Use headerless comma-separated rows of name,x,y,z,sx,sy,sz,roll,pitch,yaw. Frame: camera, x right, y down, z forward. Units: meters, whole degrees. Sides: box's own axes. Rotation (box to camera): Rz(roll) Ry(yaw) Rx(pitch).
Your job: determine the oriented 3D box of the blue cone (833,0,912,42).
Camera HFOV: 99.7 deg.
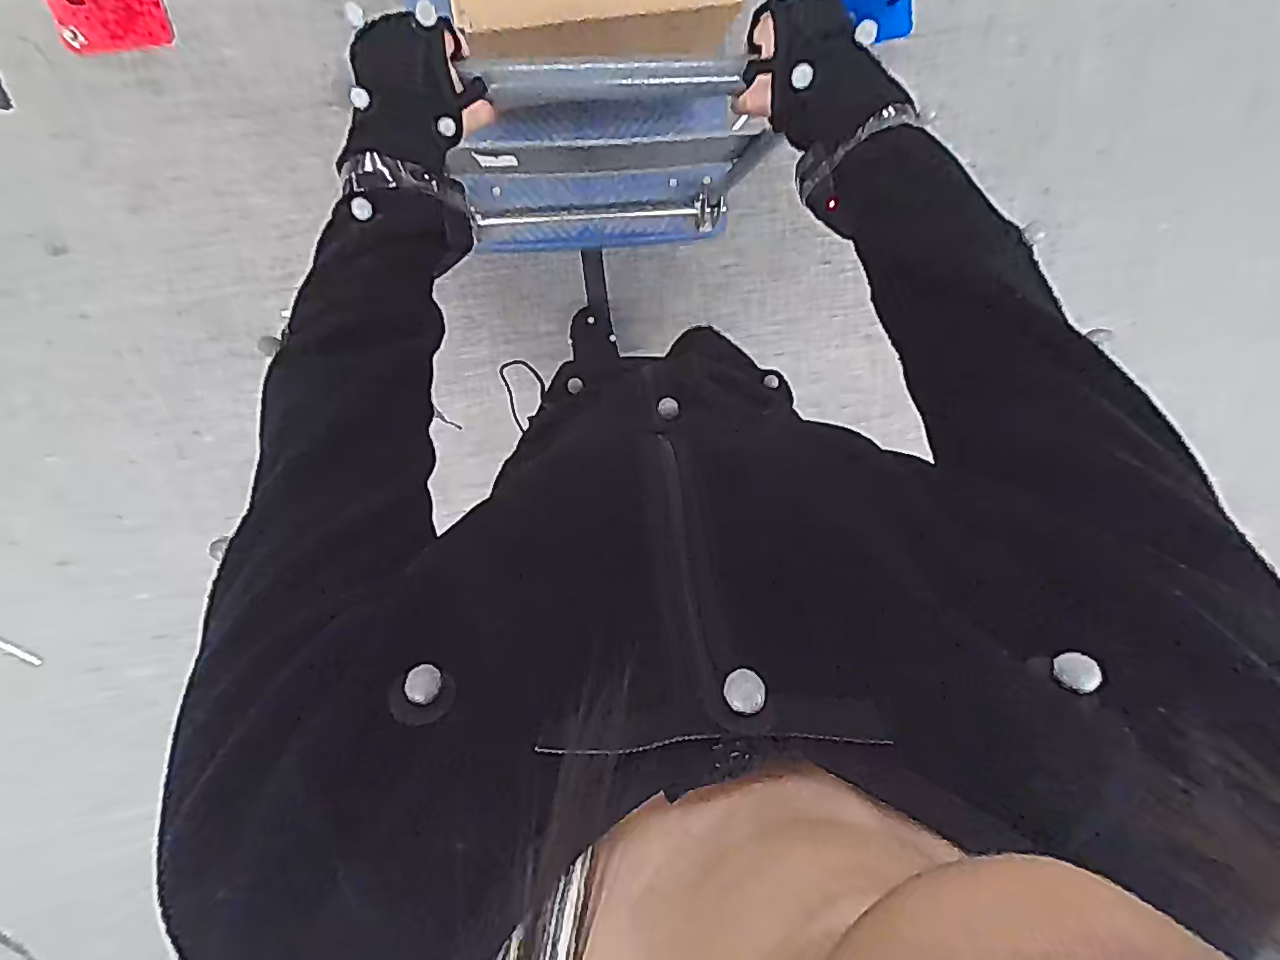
blue cone,0.528,-1.035,1.030,0.193,0.380,0.192,-13,108,-4
